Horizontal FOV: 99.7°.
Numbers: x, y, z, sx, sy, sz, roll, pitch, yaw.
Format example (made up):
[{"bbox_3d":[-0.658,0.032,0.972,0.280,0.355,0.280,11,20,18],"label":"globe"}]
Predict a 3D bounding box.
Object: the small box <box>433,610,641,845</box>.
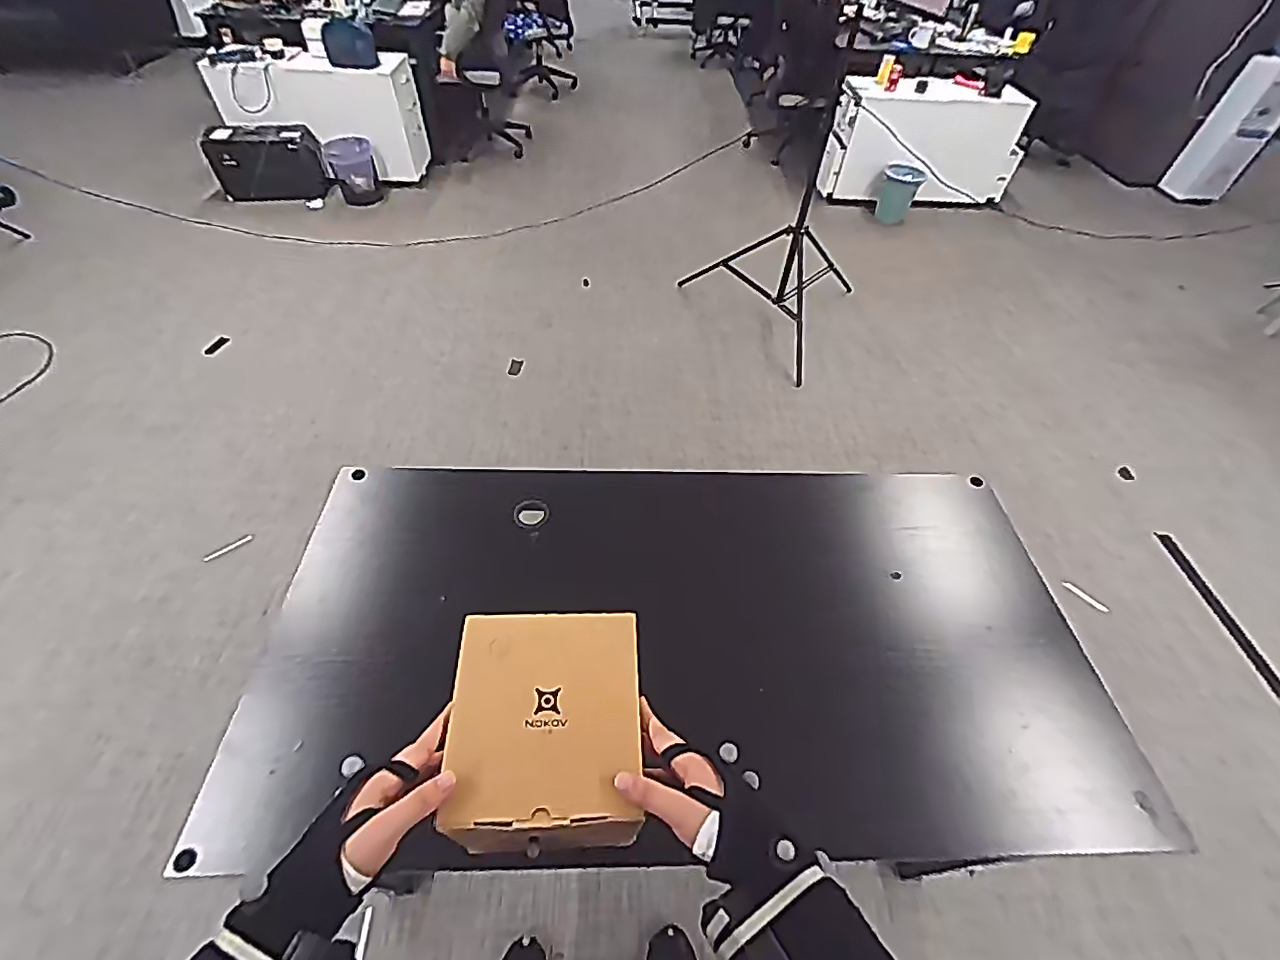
[{"bbox_3d":[-0.090,0.247,0.538,0.168,0.176,0.179,0,52,-5],"label":"small box"}]
